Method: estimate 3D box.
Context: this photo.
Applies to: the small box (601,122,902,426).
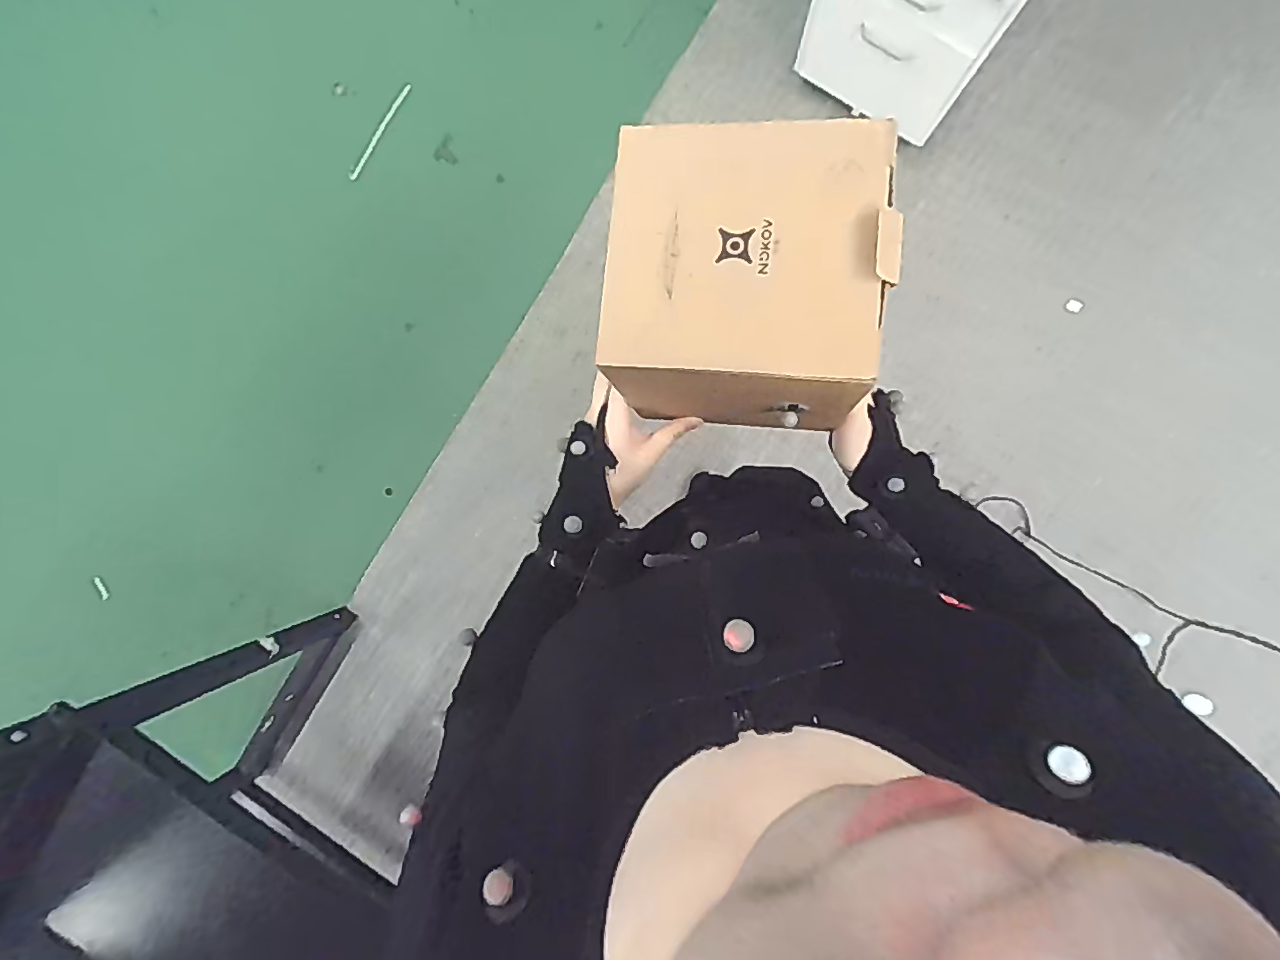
[{"bbox_3d":[0.081,-0.140,0.420,0.179,0.176,0.168,5,85,11],"label":"small box"}]
